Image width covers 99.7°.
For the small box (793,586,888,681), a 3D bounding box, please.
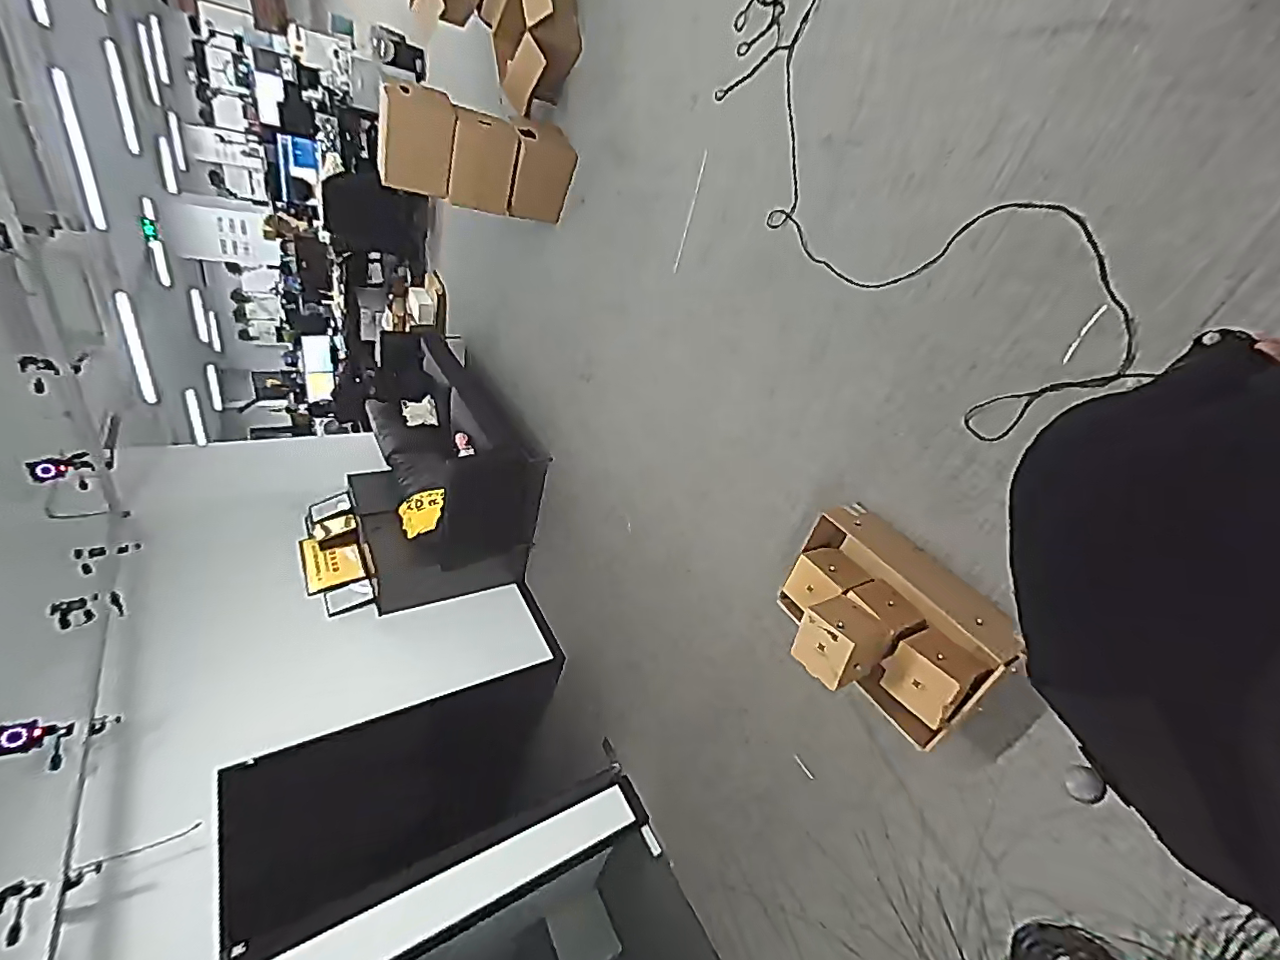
[{"bbox_3d":[0.575,0.433,1.547,0.168,0.176,0.179,38,128,45],"label":"small box"}]
